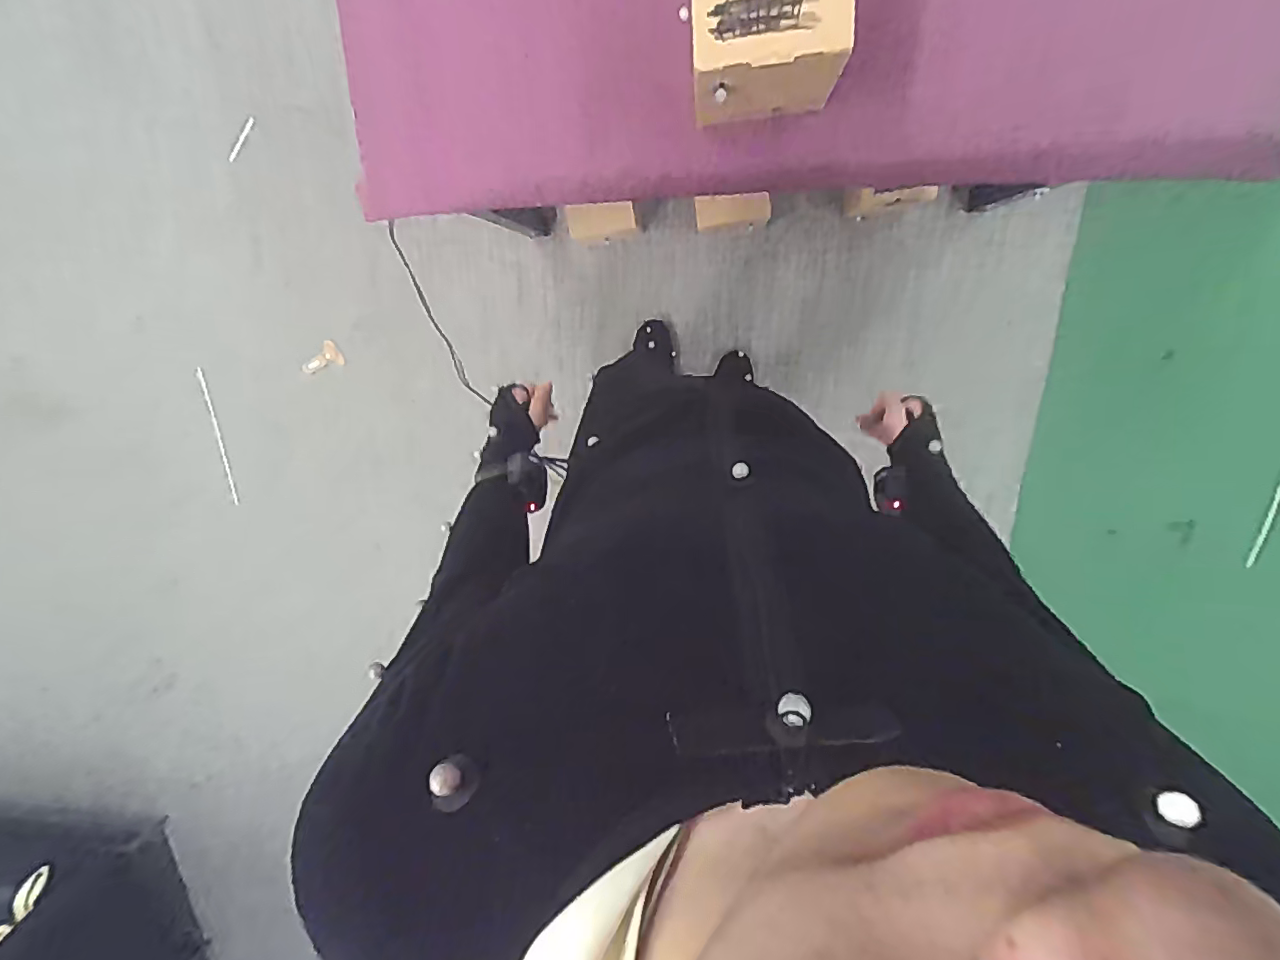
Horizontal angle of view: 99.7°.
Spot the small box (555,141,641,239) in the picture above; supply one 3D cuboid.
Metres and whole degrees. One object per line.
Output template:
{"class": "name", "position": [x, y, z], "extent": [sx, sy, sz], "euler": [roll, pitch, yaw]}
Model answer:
{"class": "small box", "position": [-0.097, -0.711, 1.349], "extent": [0.168, 0.176, 0.179], "euler": [-8, 107, 9]}

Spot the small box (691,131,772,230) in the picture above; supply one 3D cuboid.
{"class": "small box", "position": [0.218, -0.716, 1.310], "extent": [0.179, 0.176, 0.168], "euler": [-6, 106, 9]}

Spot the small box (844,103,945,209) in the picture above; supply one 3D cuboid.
{"class": "small box", "position": [0.582, -0.741, 1.257], "extent": [0.168, 0.176, 0.179], "euler": [-2, 107, 7]}
